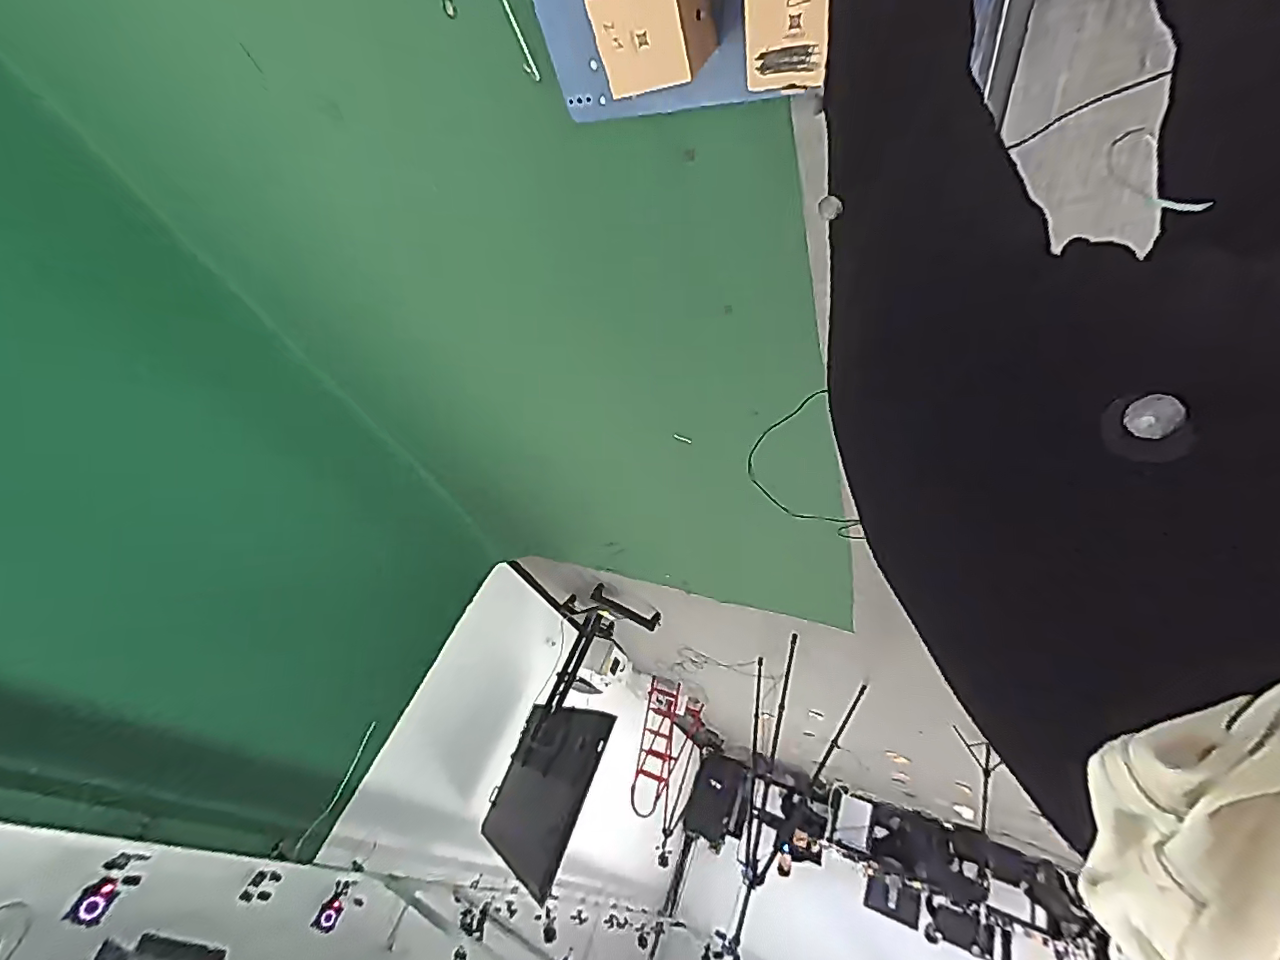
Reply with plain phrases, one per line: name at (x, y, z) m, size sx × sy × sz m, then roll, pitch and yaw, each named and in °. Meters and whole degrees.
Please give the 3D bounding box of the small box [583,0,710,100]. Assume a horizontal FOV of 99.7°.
small box at (0.024, -0.865, 1.029) m, size 0.179 × 0.176 × 0.168 m, roll 8°, pitch 145°, yaw 27°
